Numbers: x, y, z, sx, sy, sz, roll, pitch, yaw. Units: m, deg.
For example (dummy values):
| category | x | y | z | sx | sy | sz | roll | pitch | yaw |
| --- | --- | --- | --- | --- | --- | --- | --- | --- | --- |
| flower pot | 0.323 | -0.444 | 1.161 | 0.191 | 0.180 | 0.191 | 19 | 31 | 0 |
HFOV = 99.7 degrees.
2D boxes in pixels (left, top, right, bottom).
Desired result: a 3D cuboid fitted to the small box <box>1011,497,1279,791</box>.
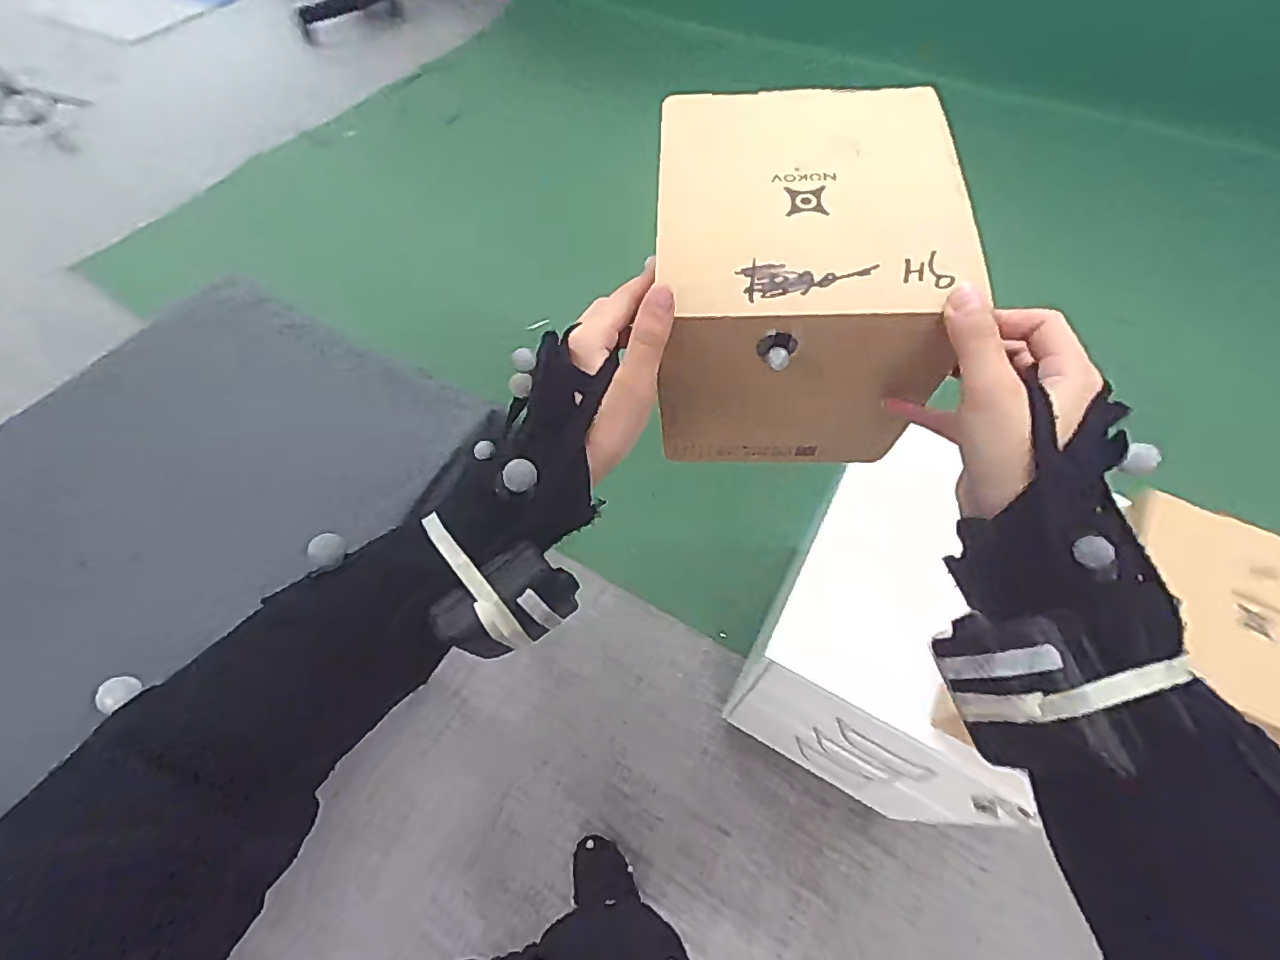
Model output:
| category | x | y | z | sx | sy | sz | roll | pitch | yaw |
| --- | --- | --- | --- | --- | --- | --- | --- | --- | --- |
| small box | 0.477 | 0.154 | 0.490 | 0.168 | 0.176 | 0.179 | 27 | 62 | 17 |

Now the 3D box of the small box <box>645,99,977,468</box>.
| category | x | y | z | sx | sy | sz | roll | pitch | yaw |
| --- | --- | --- | --- | --- | --- | --- | --- | --- | --- |
| small box | 0.091 | -0.125 | 0.375 | 0.168 | 0.176 | 0.179 | 1 | 65 | 4 |
